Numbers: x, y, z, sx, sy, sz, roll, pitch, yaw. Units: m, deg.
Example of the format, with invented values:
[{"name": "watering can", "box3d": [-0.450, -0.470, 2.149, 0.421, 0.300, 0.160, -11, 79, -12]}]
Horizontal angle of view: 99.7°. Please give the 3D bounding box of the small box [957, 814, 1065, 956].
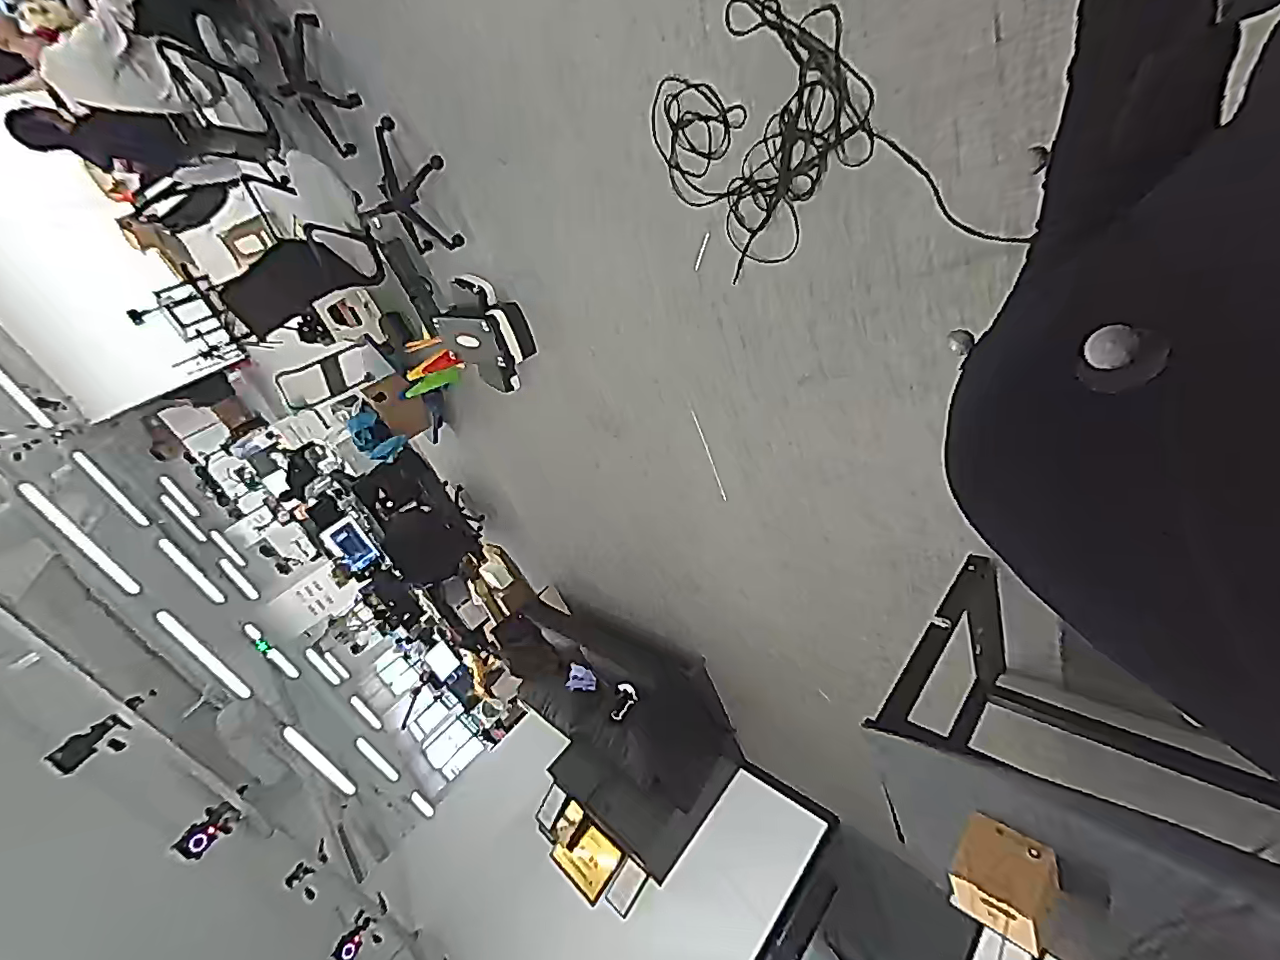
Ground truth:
[{"name": "small box", "box3d": [0.859, 0.923, 1.248, 0.168, 0.176, 0.179, 8, 132, 49]}]
